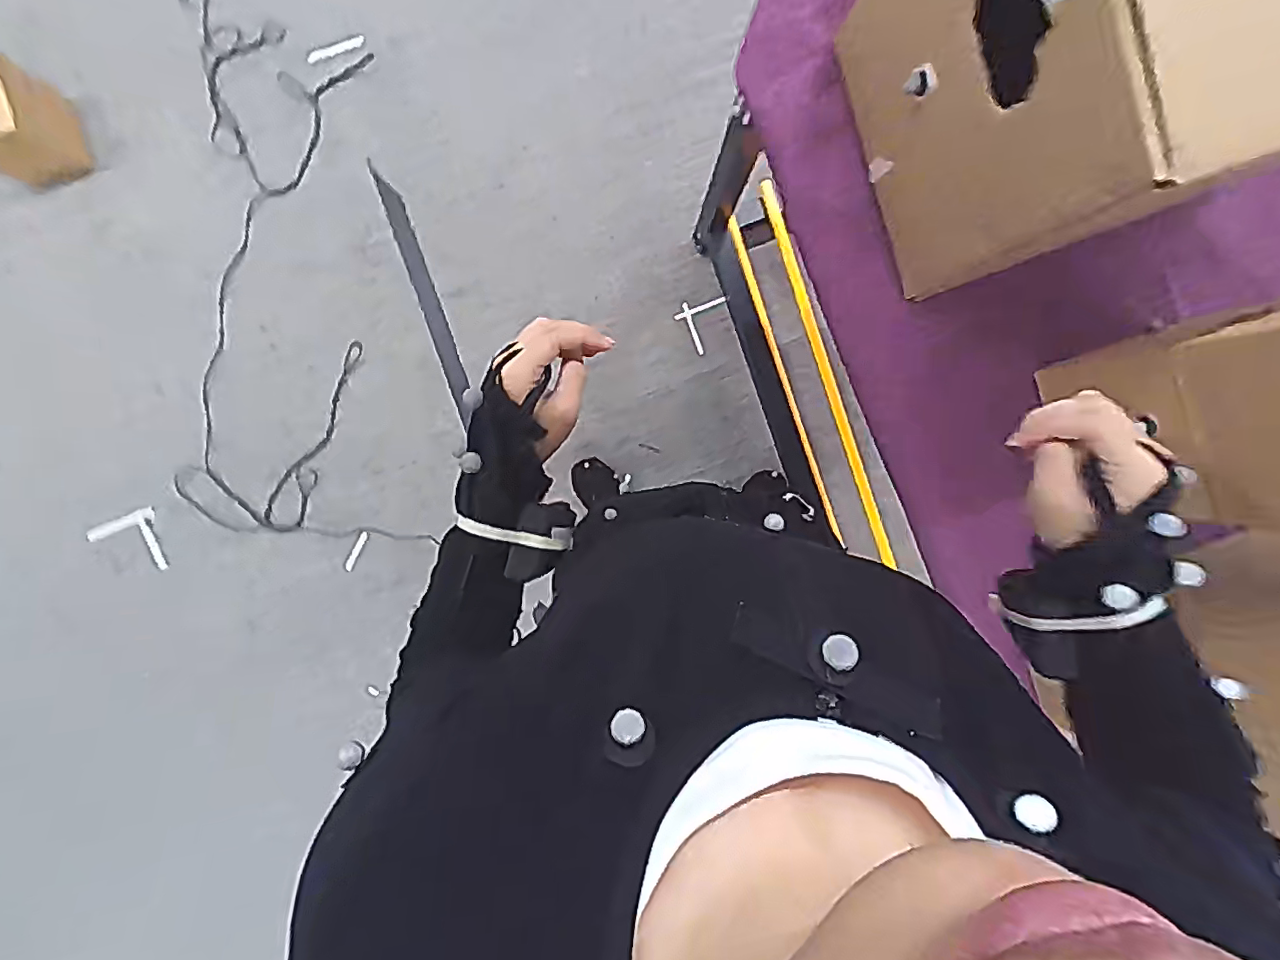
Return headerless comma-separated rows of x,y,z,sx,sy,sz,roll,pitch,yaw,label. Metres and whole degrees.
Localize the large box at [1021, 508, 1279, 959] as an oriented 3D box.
0.705,0.242,0.530,0.408,0.320,0.320,-21,94,-2,large box
